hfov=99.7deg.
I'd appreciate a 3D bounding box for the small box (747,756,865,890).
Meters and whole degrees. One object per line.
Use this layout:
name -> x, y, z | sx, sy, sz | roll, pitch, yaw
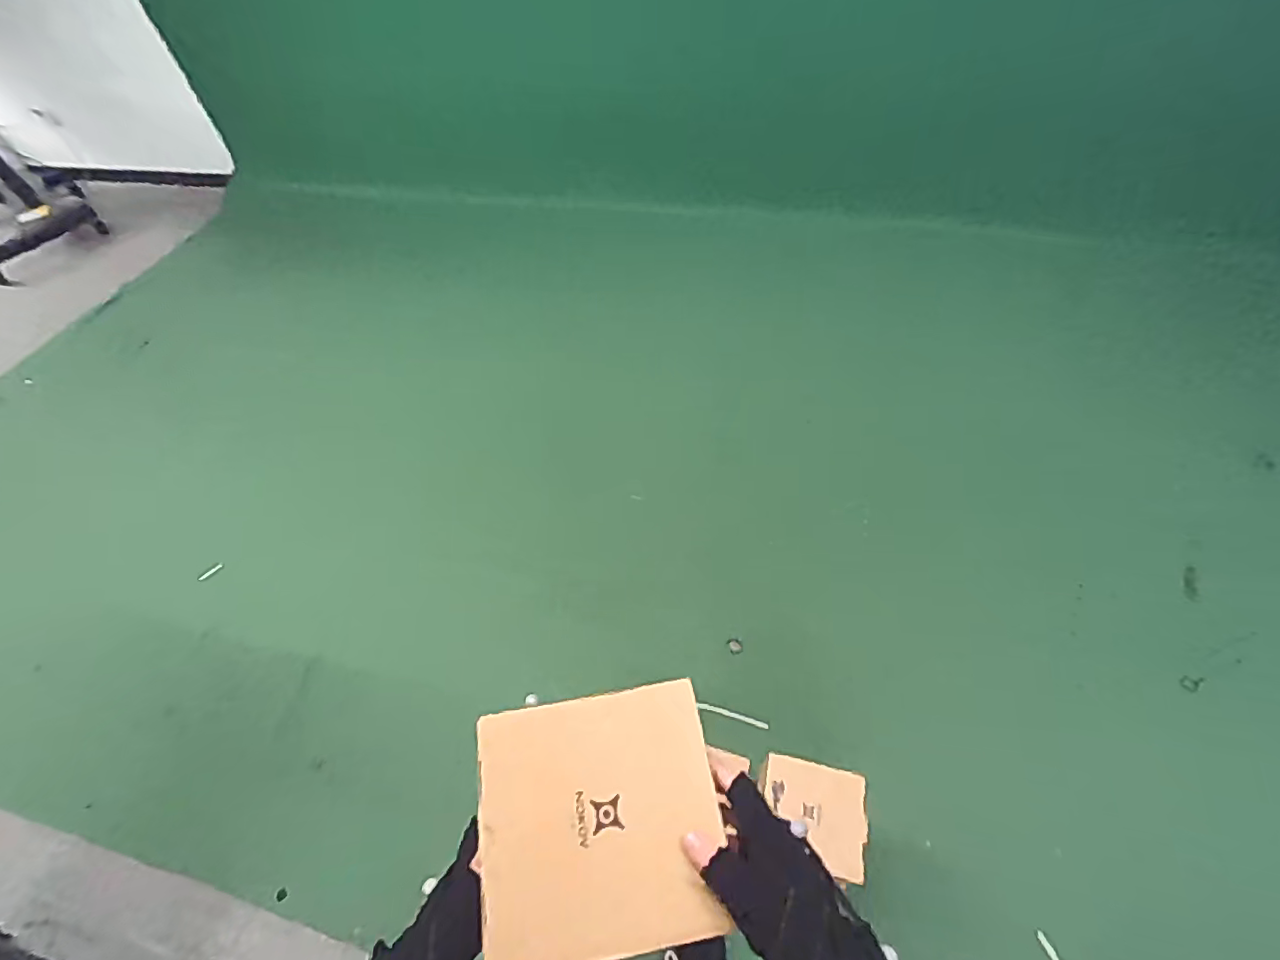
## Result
small box -> 0.309, 0.645, 1.021 | 0.179, 0.176, 0.168 | 11, 55, 12
